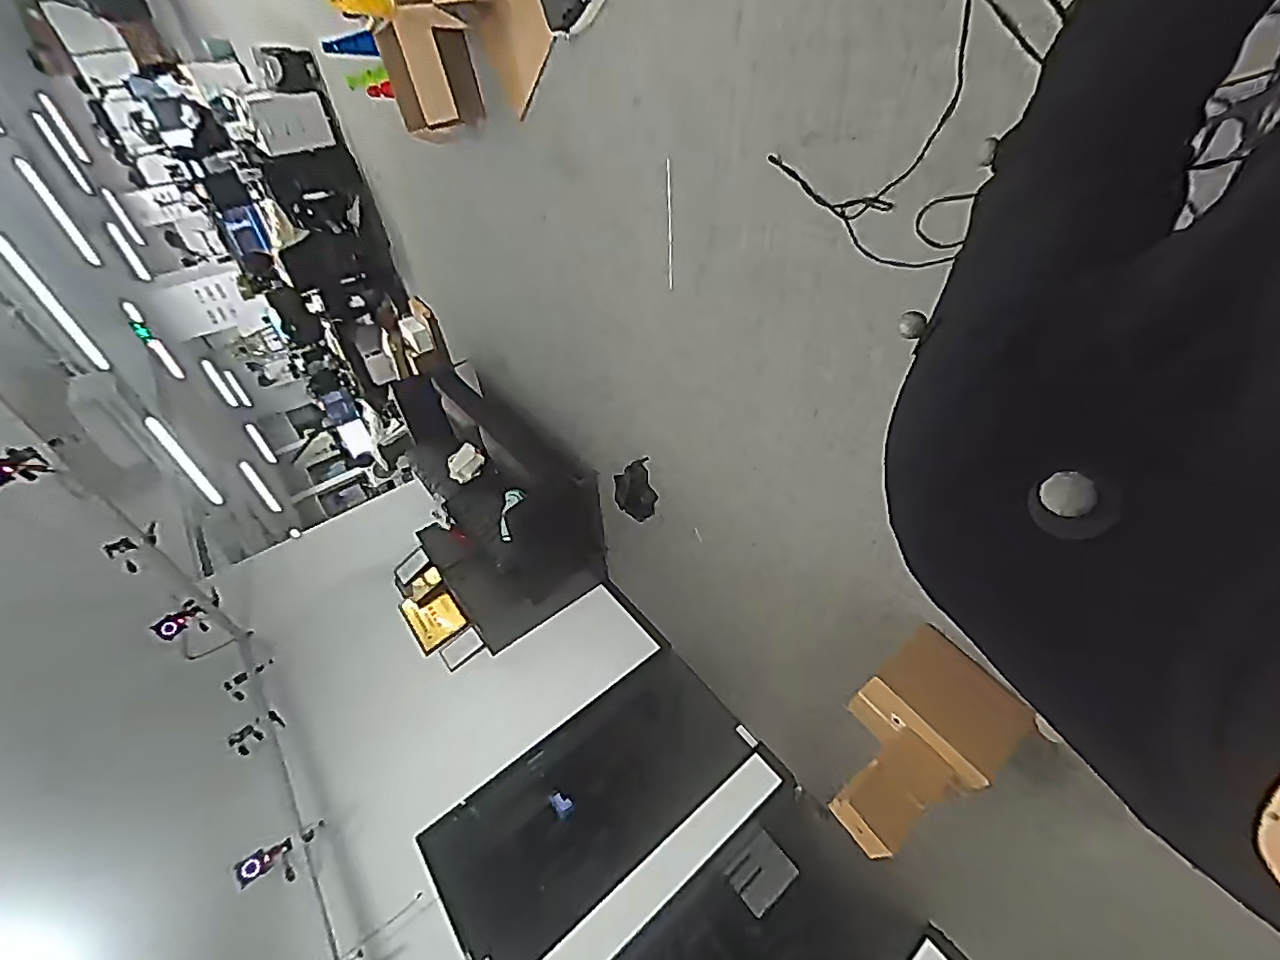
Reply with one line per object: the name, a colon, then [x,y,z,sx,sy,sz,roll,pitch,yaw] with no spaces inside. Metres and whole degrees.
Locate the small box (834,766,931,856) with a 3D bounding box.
small box: [0.739,1.005,1.654,0.179,0.176,0.168,47,154,27]

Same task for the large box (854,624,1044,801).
large box: [1.029,0.780,1.837,0.408,0.320,0.320,46,151,31]
